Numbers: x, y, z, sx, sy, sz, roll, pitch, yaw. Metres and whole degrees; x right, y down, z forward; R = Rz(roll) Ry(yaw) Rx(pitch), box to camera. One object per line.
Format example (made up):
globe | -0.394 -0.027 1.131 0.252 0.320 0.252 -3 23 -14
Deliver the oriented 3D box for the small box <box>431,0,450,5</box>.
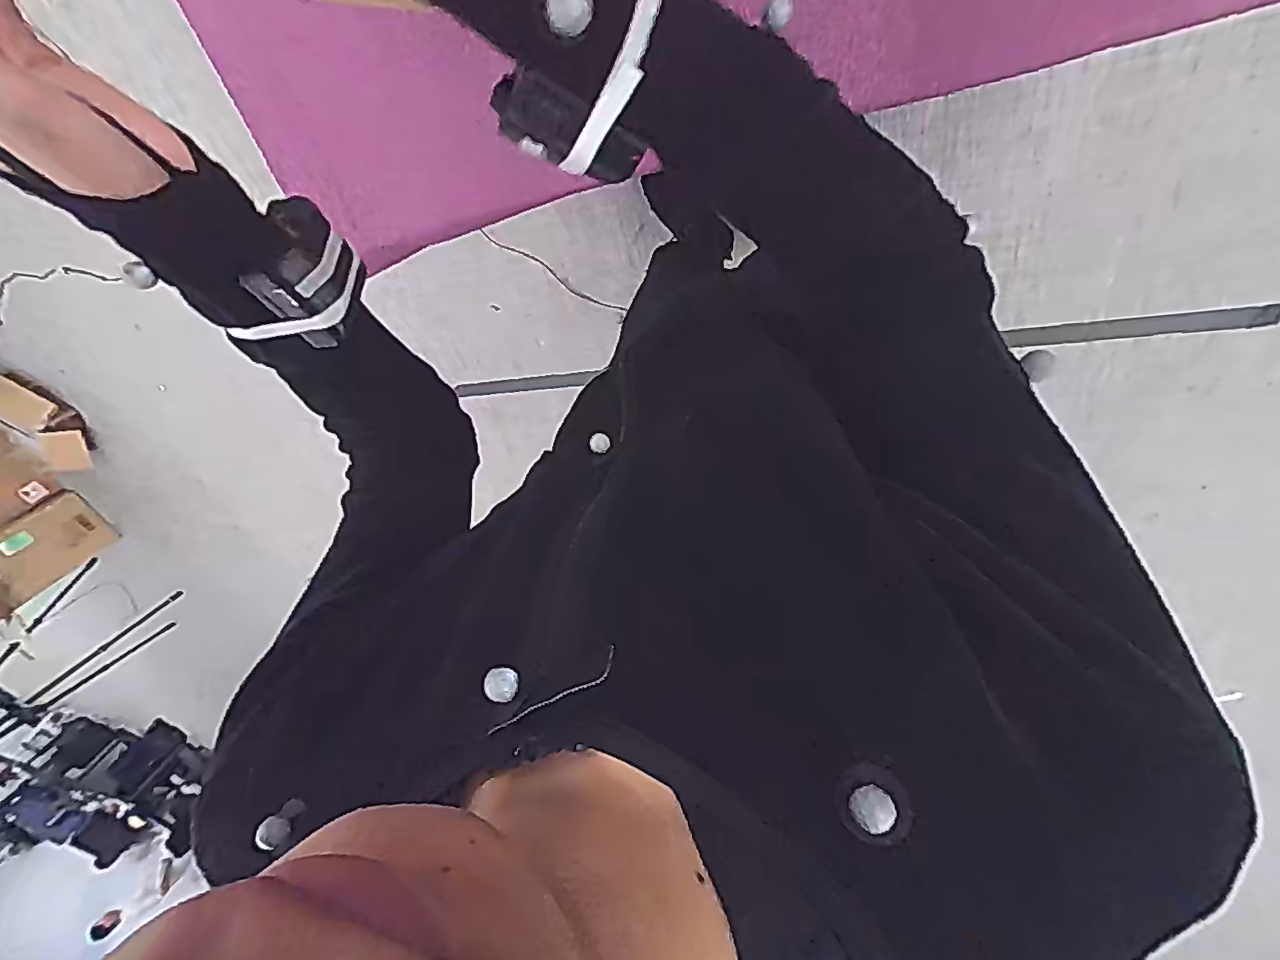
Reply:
small box | -0.165 -0.458 0.360 0.168 0.176 0.179 -3 126 23

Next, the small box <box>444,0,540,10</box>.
small box | -0.109 -0.557 0.479 0.168 0.176 0.179 -5 125 24
